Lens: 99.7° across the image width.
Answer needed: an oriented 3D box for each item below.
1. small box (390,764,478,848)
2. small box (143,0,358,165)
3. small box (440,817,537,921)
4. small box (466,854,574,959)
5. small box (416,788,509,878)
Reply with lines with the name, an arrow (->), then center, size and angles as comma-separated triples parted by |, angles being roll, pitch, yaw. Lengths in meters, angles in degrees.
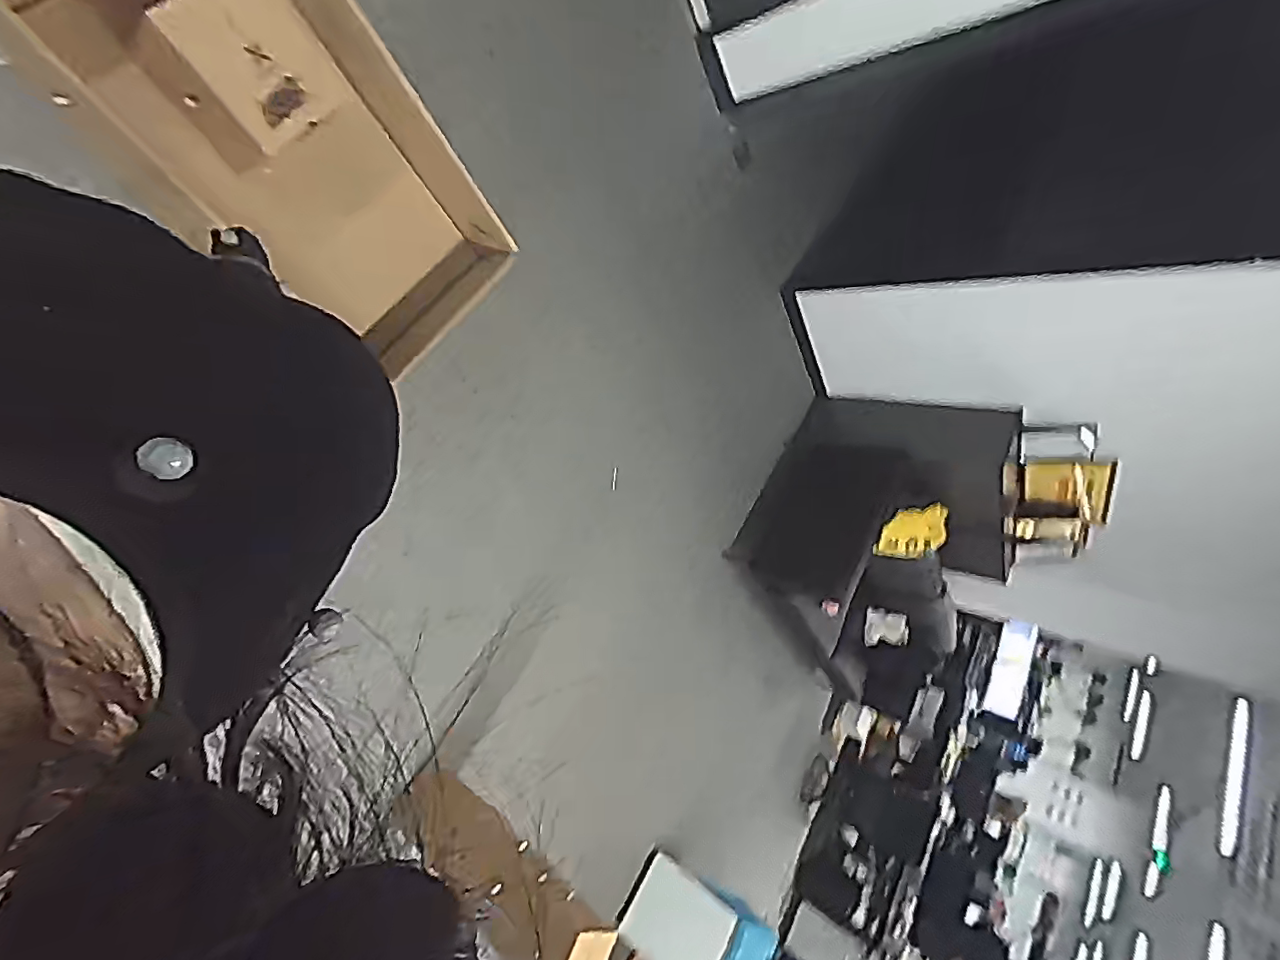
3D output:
small box -> -0.669, 1.057, 1.748 | 0.179, 0.176, 0.168 | -57, 135, -20
small box -> -0.562, -0.587, 0.785 | 0.168, 0.176, 0.179 | -54, 134, -23
small box -> -0.433, 1.098, 1.525 | 0.179, 0.176, 0.168 | -59, 135, -19
small box -> -0.313, 1.118, 1.417 | 0.179, 0.176, 0.168 | 49, 63, -41
small box -> -0.543, 1.076, 1.644 | 0.179, 0.176, 0.168 | -57, 134, -21
